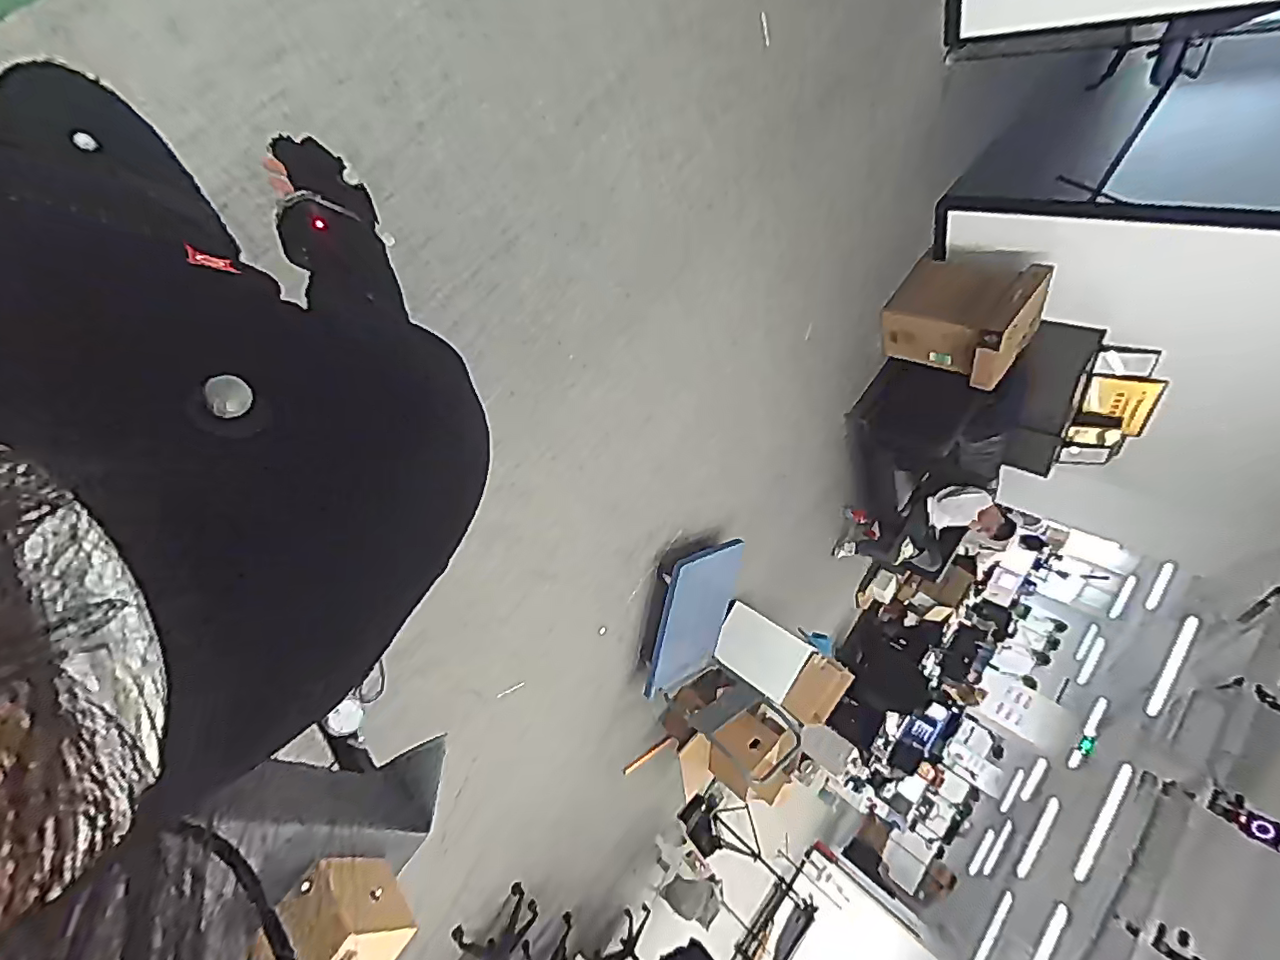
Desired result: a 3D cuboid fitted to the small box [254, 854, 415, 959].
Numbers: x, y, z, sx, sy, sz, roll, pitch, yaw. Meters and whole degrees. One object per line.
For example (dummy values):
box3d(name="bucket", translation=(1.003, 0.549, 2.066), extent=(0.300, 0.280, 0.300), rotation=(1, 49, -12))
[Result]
box3d(name="small box", translation=(-0.570, 0.836, 1.009), extent=(0.168, 0.176, 0.179), rotation=(-51, 142, -13))
